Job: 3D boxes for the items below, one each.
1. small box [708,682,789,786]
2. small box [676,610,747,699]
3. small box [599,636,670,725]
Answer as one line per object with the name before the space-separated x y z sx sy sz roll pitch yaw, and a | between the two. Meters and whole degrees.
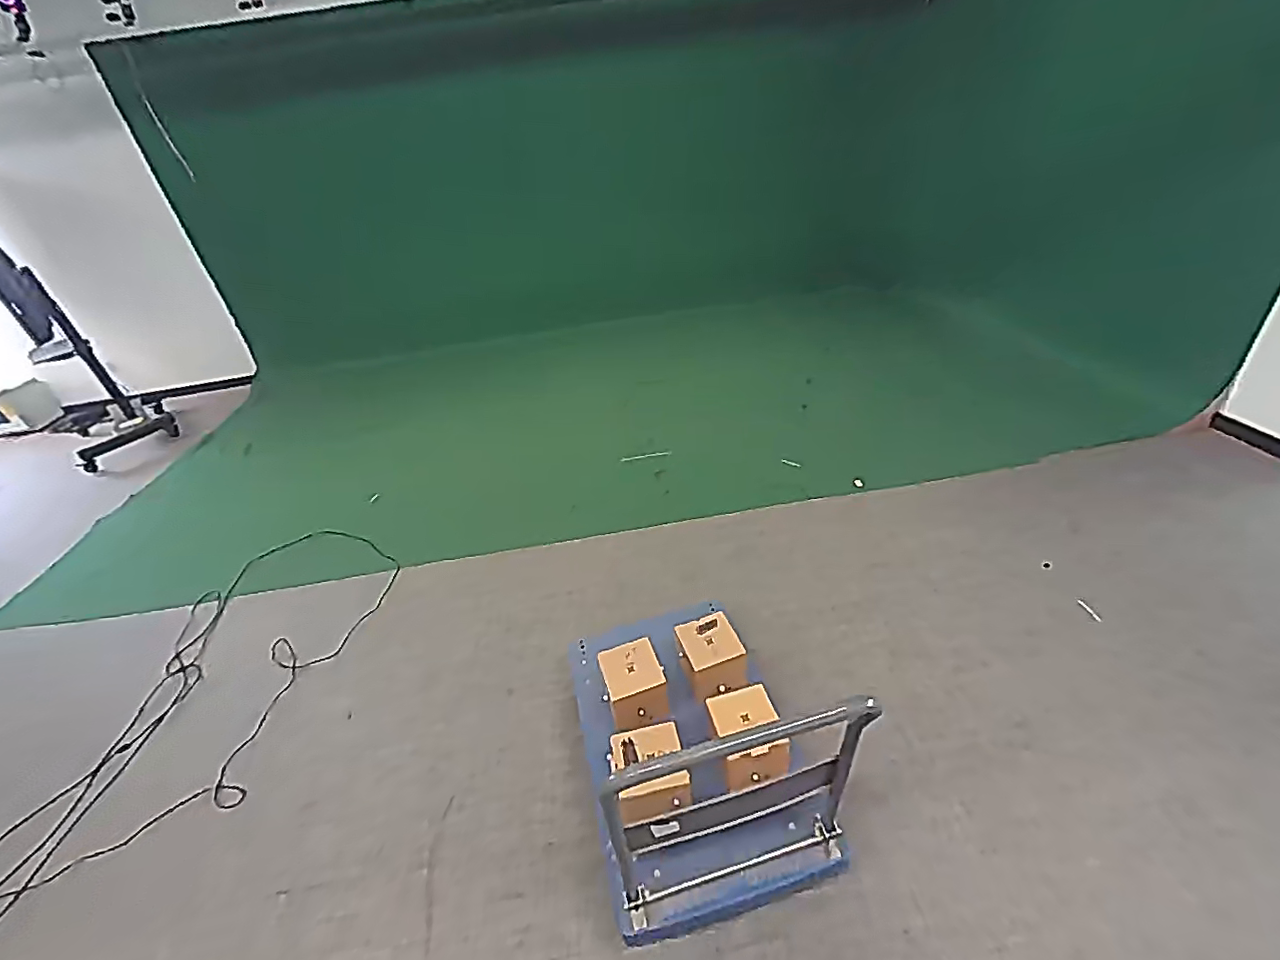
small box | 0.289 0.691 1.474 0.168 0.176 0.179 -13 35 -7
small box | 0.222 0.546 1.693 0.168 0.176 0.179 -16 36 -10
small box | -0.015 0.615 1.645 0.168 0.176 0.179 -15 35 -11
